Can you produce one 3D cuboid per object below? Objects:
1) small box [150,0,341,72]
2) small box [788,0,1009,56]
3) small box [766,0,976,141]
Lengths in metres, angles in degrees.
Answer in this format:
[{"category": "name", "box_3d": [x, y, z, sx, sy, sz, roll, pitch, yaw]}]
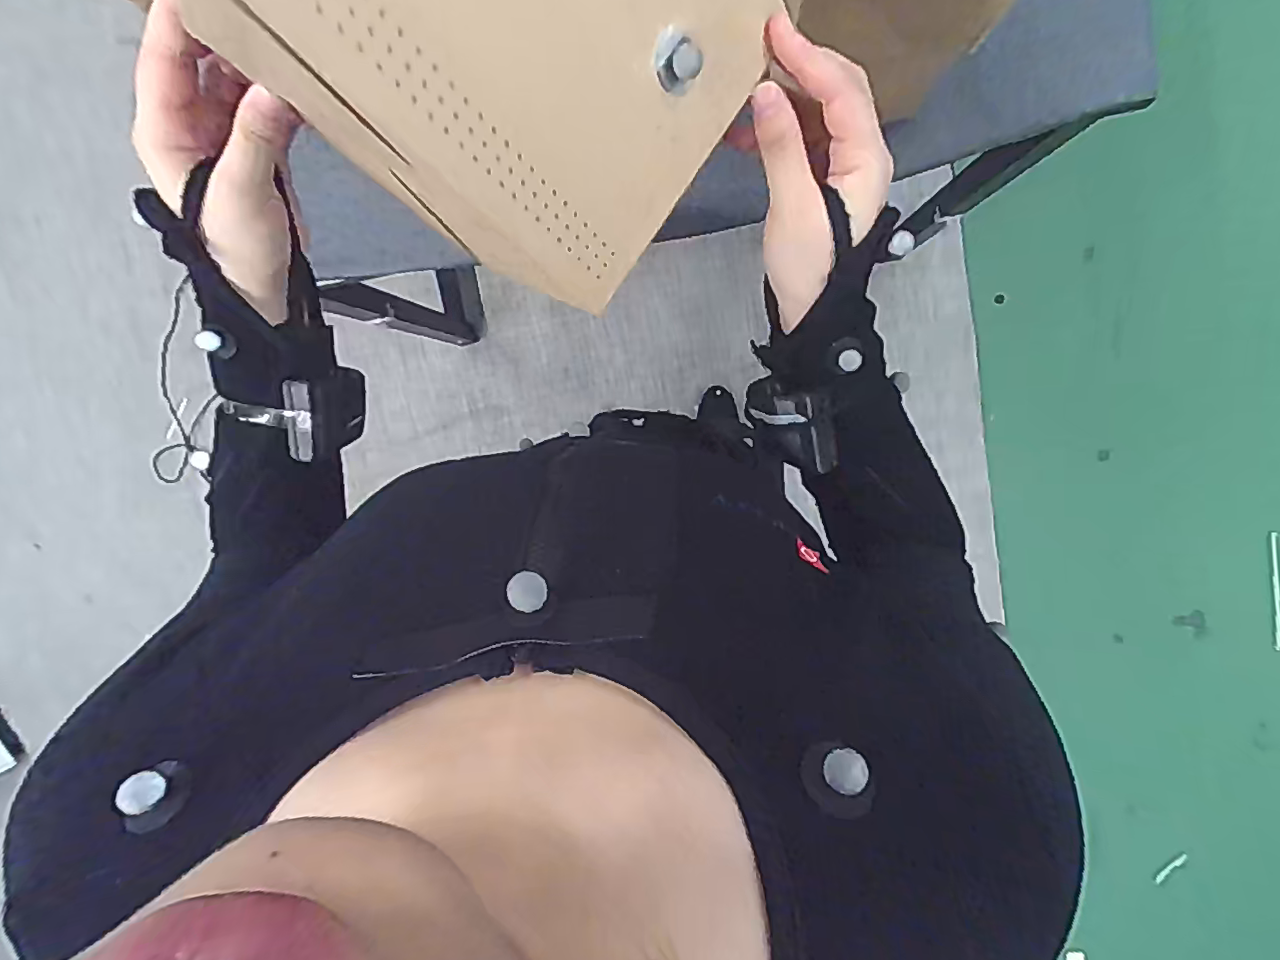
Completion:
[{"category": "small box", "box_3d": [-0.488, -0.630, 0.625, 0.168, 0.176, 0.179, -13, 97, 6]}, {"category": "small box", "box_3d": [0.222, -0.469, 0.418, 0.179, 0.176, 0.168, 3, 97, 6]}, {"category": "small box", "box_3d": [0.234, -0.505, 0.577, 0.168, 0.176, 0.179, -8, 97, 7]}]
